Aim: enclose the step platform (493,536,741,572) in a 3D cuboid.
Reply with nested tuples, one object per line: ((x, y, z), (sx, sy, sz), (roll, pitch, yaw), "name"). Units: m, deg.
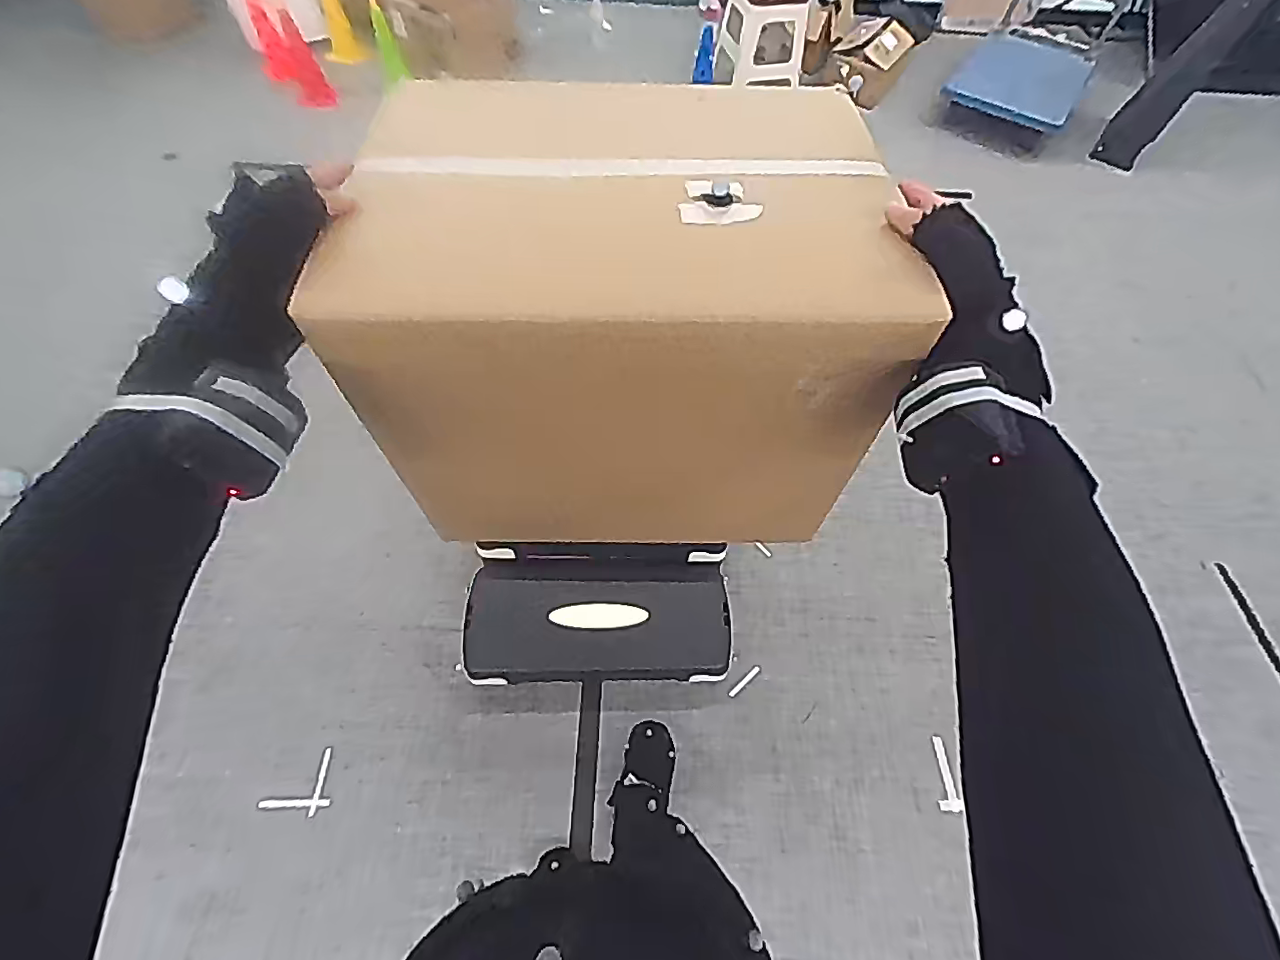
((-0.060, 0.087, 1.513), (0.684, 0.204, 0.286), (1, 60, -3), "step platform")

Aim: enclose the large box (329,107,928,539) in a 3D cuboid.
((-0.012, -0.142, 0.557), (0.408, 0.320, 0.320), (1, 58, -1), "large box")
